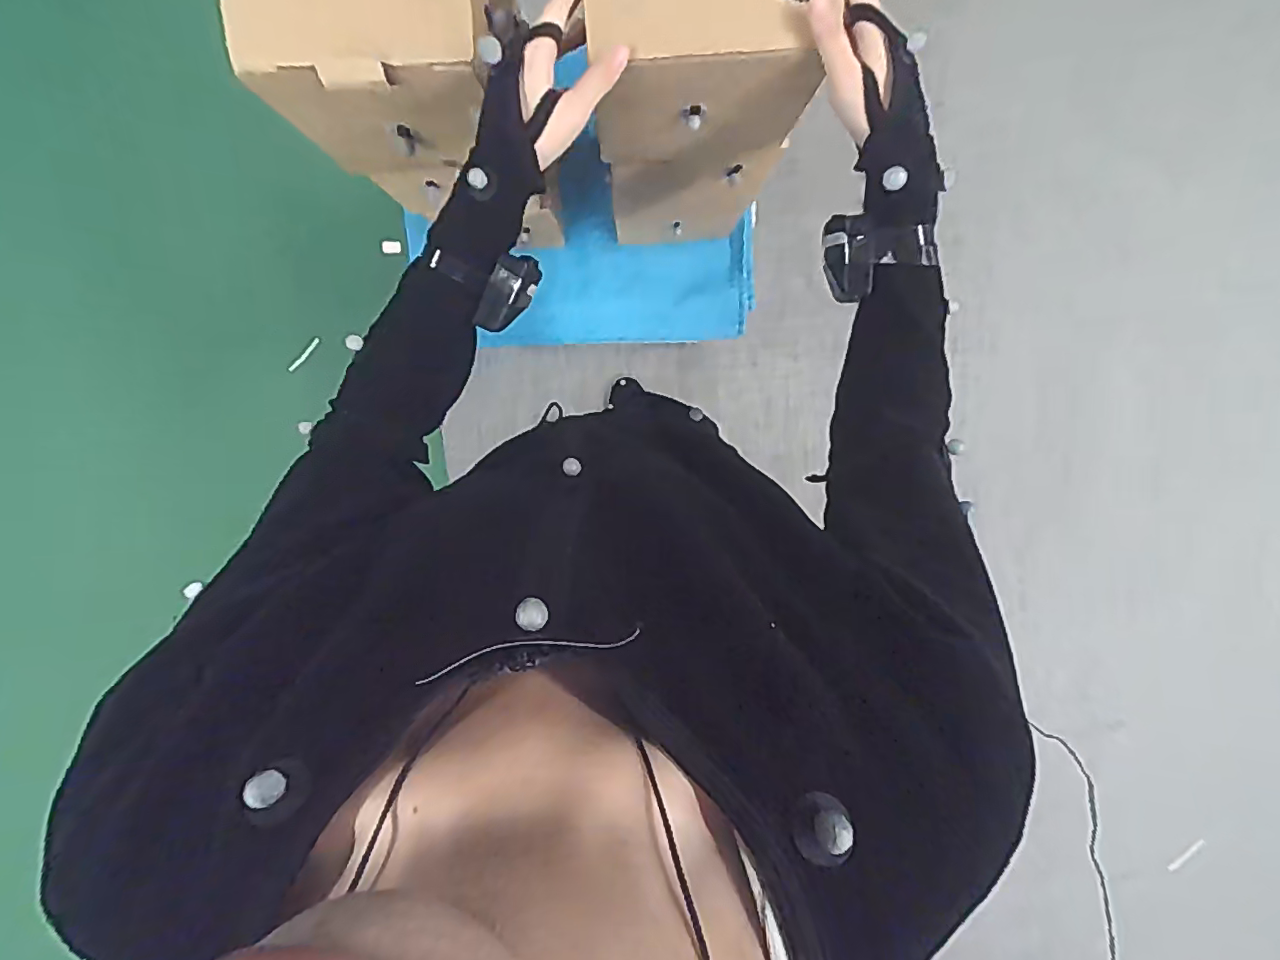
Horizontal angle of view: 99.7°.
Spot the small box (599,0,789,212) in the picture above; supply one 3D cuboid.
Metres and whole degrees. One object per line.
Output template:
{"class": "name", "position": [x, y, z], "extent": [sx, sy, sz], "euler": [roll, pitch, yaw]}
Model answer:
{"class": "small box", "position": [0.050, -0.407, 0.585], "extent": [0.179, 0.176, 0.168], "euler": [-4, 99, 0]}

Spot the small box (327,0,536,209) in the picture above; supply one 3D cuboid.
{"class": "small box", "position": [-0.207, -0.409, 0.584], "extent": [0.168, 0.176, 0.179], "euler": [-1, 98, -2]}

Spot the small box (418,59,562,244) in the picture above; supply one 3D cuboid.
{"class": "small box", "position": [-0.200, -0.434, 0.744], "extent": [0.168, 0.176, 0.179], "euler": [-2, 99, -2]}
